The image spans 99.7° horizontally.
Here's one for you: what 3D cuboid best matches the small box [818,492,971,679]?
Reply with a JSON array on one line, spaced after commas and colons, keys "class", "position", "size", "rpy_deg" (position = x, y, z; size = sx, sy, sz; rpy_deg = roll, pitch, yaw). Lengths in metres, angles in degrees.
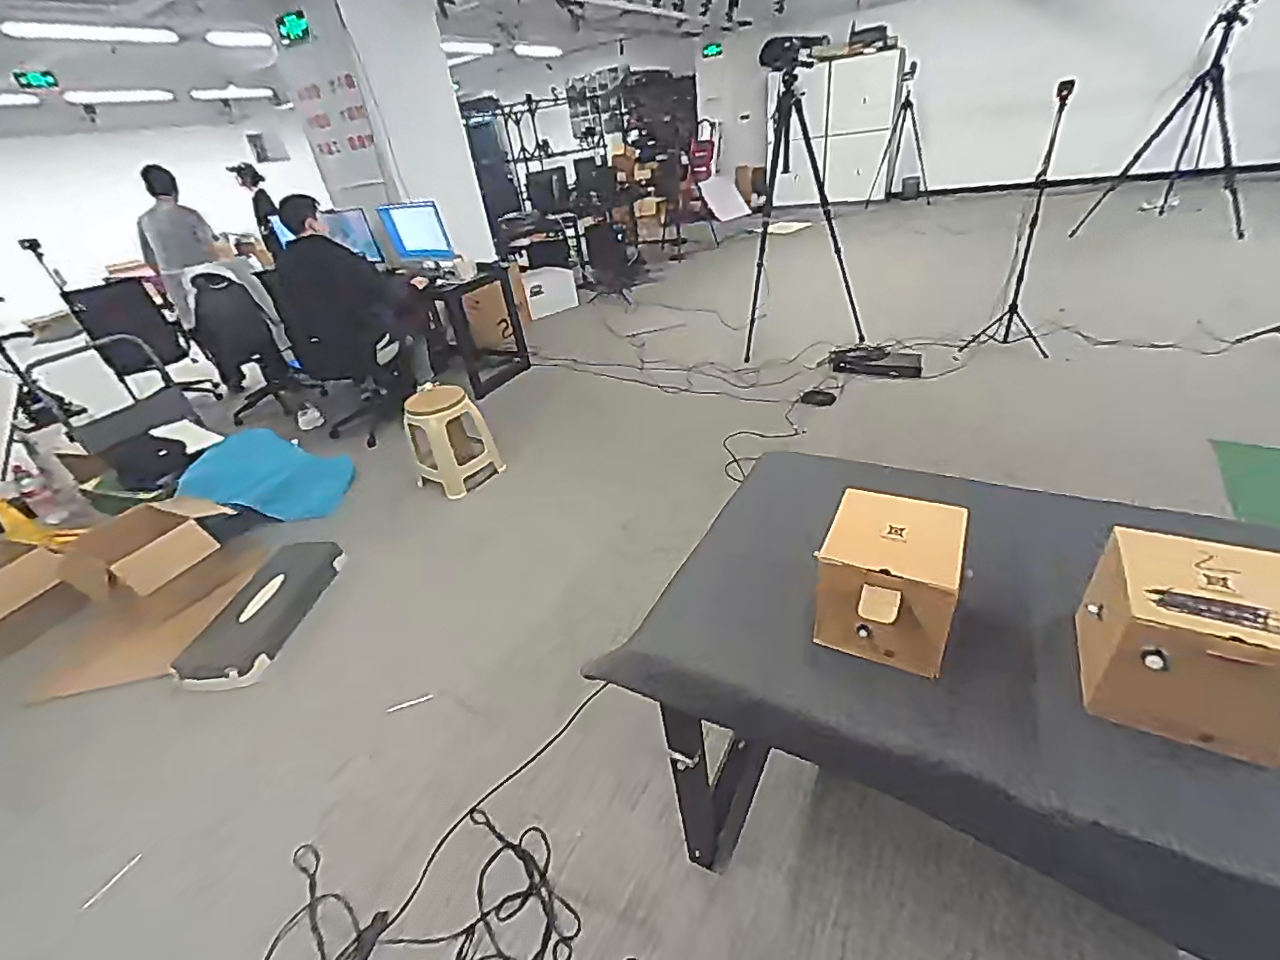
[{"class": "small box", "position": [0.361, 0.145, 0.778], "size": [0.168, 0.176, 0.179], "rpy_deg": [12, 38, 28]}]
